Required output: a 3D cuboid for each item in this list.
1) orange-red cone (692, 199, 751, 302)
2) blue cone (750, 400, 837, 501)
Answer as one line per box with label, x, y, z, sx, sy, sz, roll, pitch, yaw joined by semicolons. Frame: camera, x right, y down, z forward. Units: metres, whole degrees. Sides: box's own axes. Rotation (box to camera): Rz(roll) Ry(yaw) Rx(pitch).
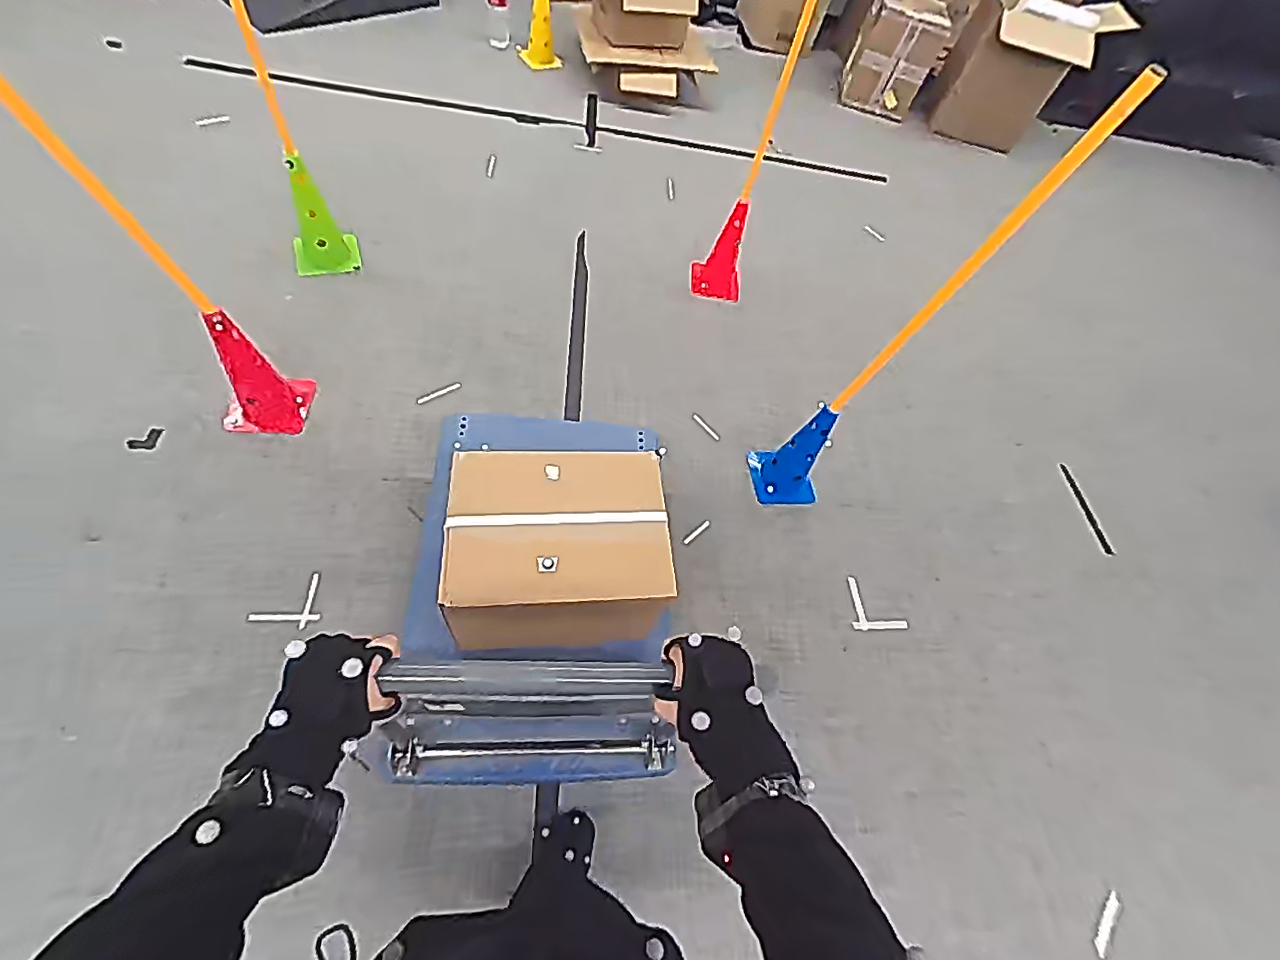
orange-red cone;0.343;-0.889;2.047;0.199;0.360;0.198;10;59;-7
blue cone;0.489;-0.099;1.618;0.193;0.380;0.192;1;58;-12
